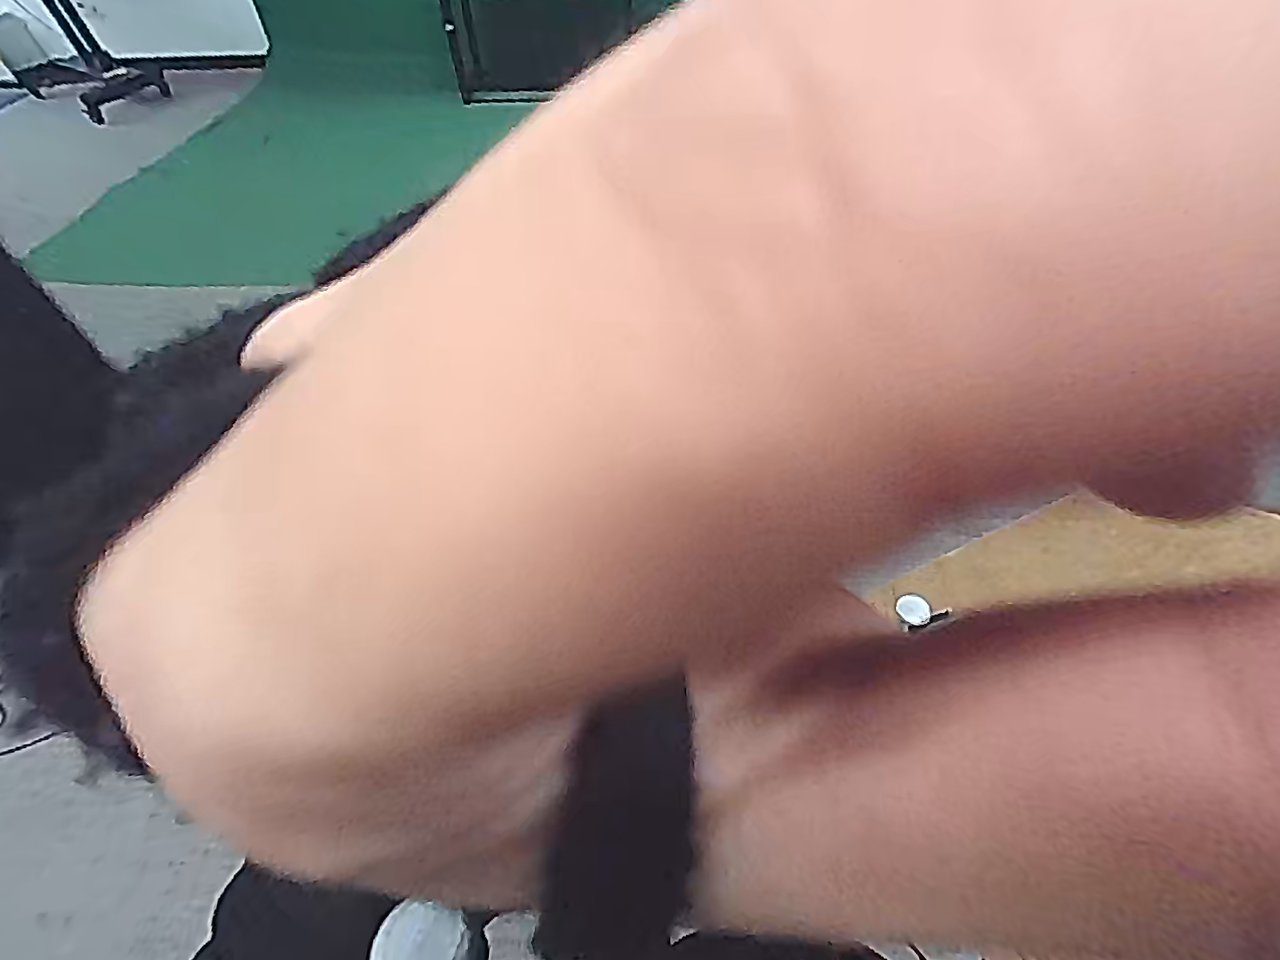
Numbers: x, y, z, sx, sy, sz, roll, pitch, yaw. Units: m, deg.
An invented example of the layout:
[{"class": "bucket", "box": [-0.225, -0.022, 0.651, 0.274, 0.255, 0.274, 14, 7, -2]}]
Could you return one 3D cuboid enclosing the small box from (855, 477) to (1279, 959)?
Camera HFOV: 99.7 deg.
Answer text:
[{"class": "small box", "box": [0.214, 0.121, 0.238, 0.176, 0.179, 0.168, -35, 84, 23]}]
